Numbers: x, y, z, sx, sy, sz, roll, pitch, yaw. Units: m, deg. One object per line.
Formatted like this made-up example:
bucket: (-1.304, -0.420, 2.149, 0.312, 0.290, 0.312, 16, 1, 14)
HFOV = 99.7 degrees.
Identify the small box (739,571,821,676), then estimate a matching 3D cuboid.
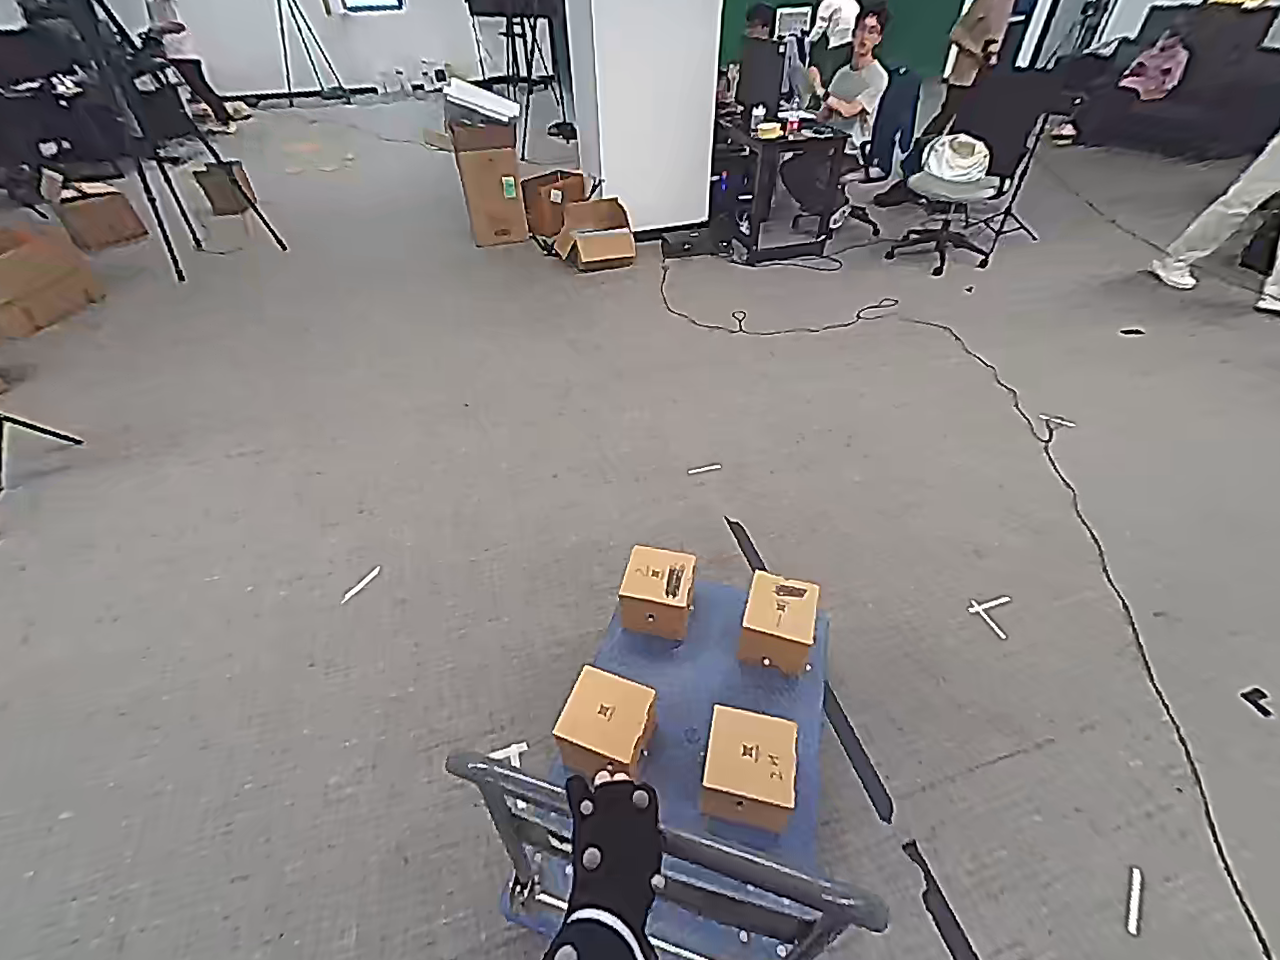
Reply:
small box: (0.355, 0.367, 1.383, 0.168, 0.176, 0.179, 13, 47, 15)

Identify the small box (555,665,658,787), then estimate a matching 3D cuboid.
small box: (-0.069, 0.551, 1.206, 0.179, 0.176, 0.168, 15, 45, 15)

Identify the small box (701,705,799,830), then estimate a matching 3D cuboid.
small box: (0.228, 0.606, 1.135, 0.179, 0.176, 0.168, 9, 45, 12)
